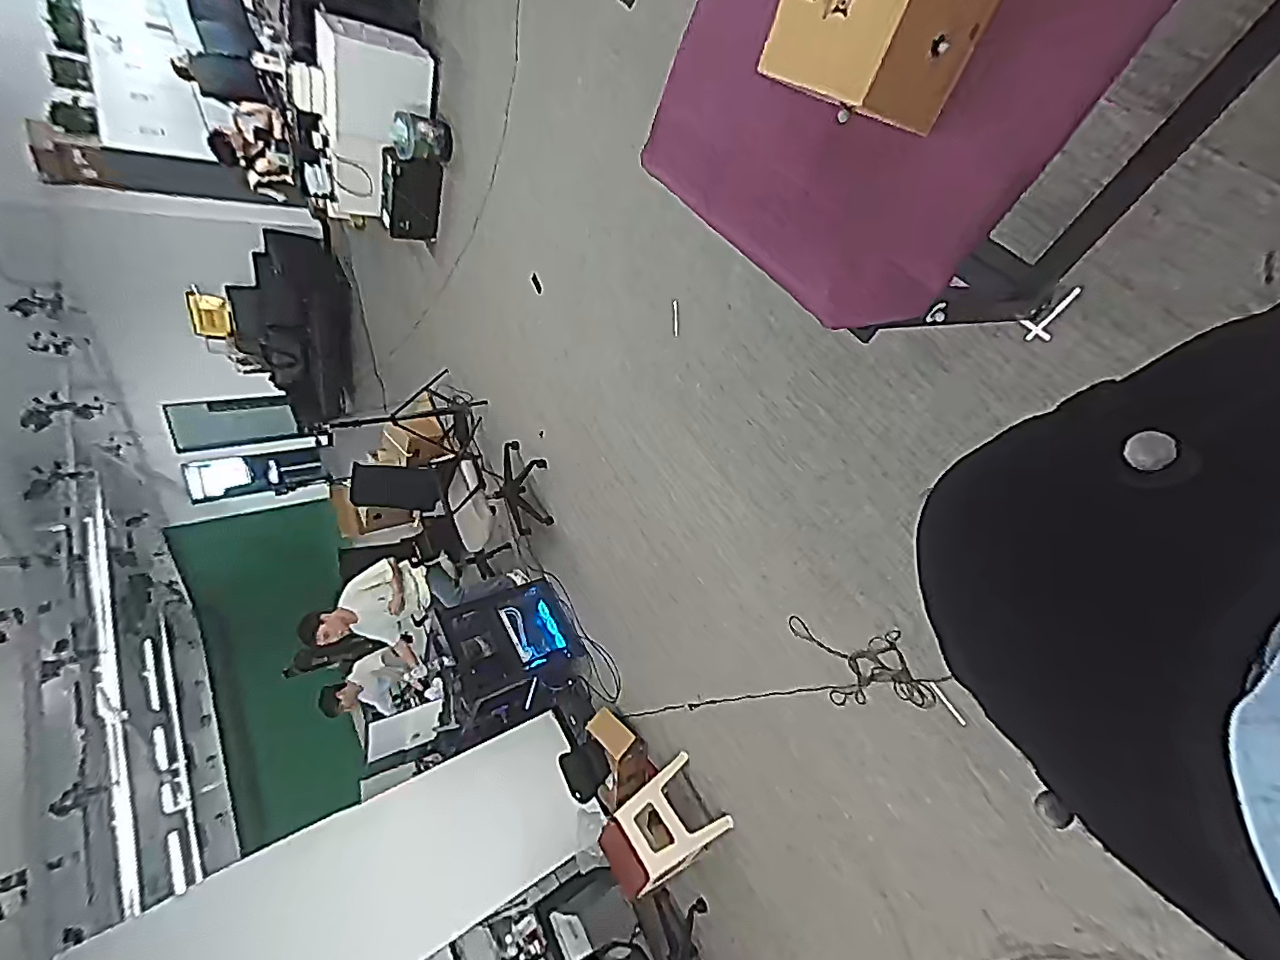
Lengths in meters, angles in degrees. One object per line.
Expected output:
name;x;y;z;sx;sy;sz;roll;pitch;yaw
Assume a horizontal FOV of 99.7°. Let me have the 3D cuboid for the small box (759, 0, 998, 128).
small box;0.283;-0.542;0.640;0.179;0.176;0.168;50;135;32
